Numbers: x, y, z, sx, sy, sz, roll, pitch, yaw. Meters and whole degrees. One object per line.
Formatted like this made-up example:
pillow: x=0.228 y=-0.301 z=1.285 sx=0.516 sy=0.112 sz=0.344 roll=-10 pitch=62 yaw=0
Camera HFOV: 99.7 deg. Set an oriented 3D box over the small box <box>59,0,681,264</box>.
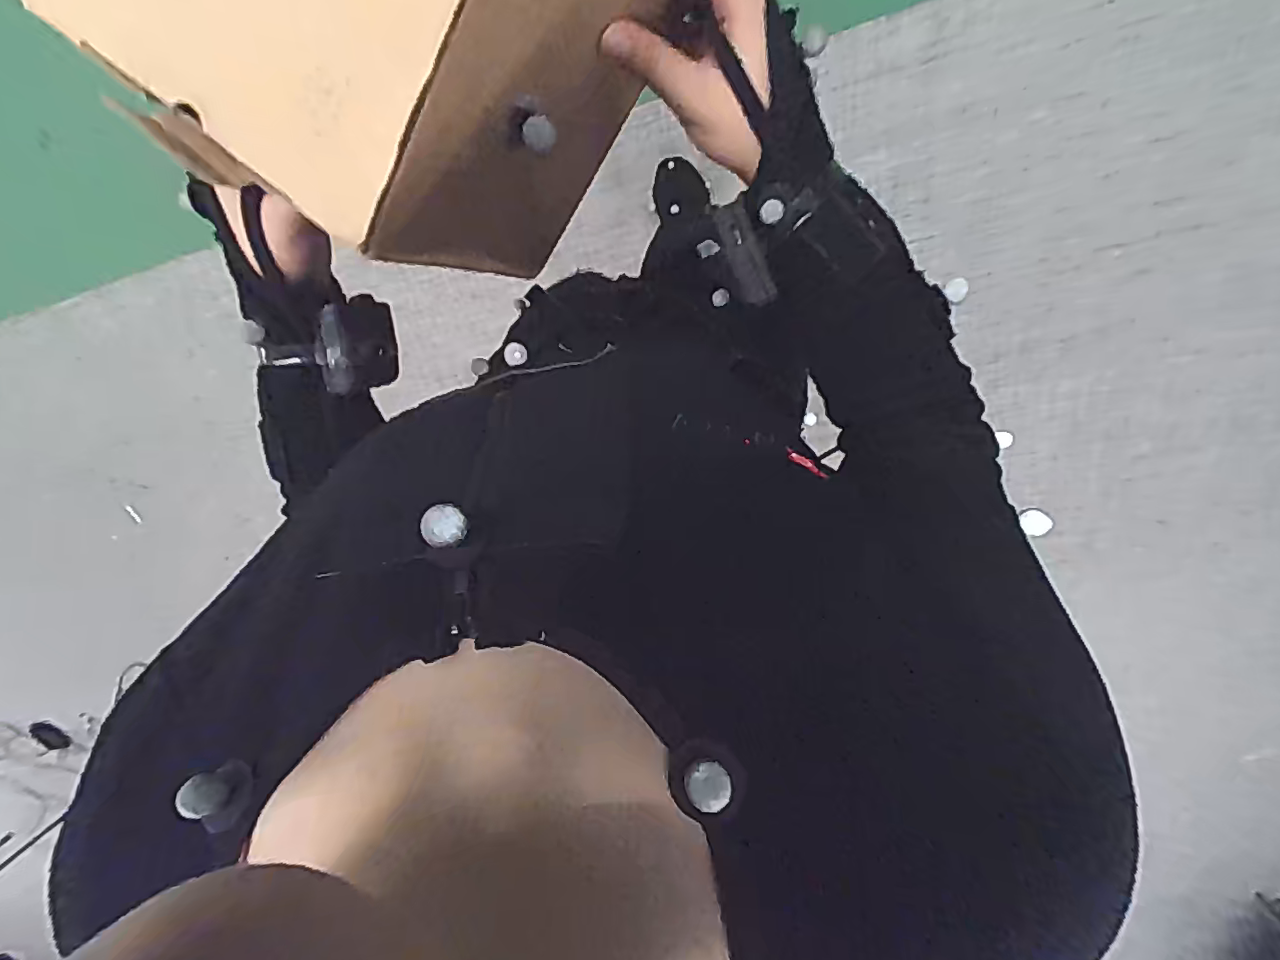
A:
small box: x=-0.098 y=-0.224 z=0.253 sx=0.168 sy=0.176 sz=0.179 roll=37 pitch=112 yaw=0
